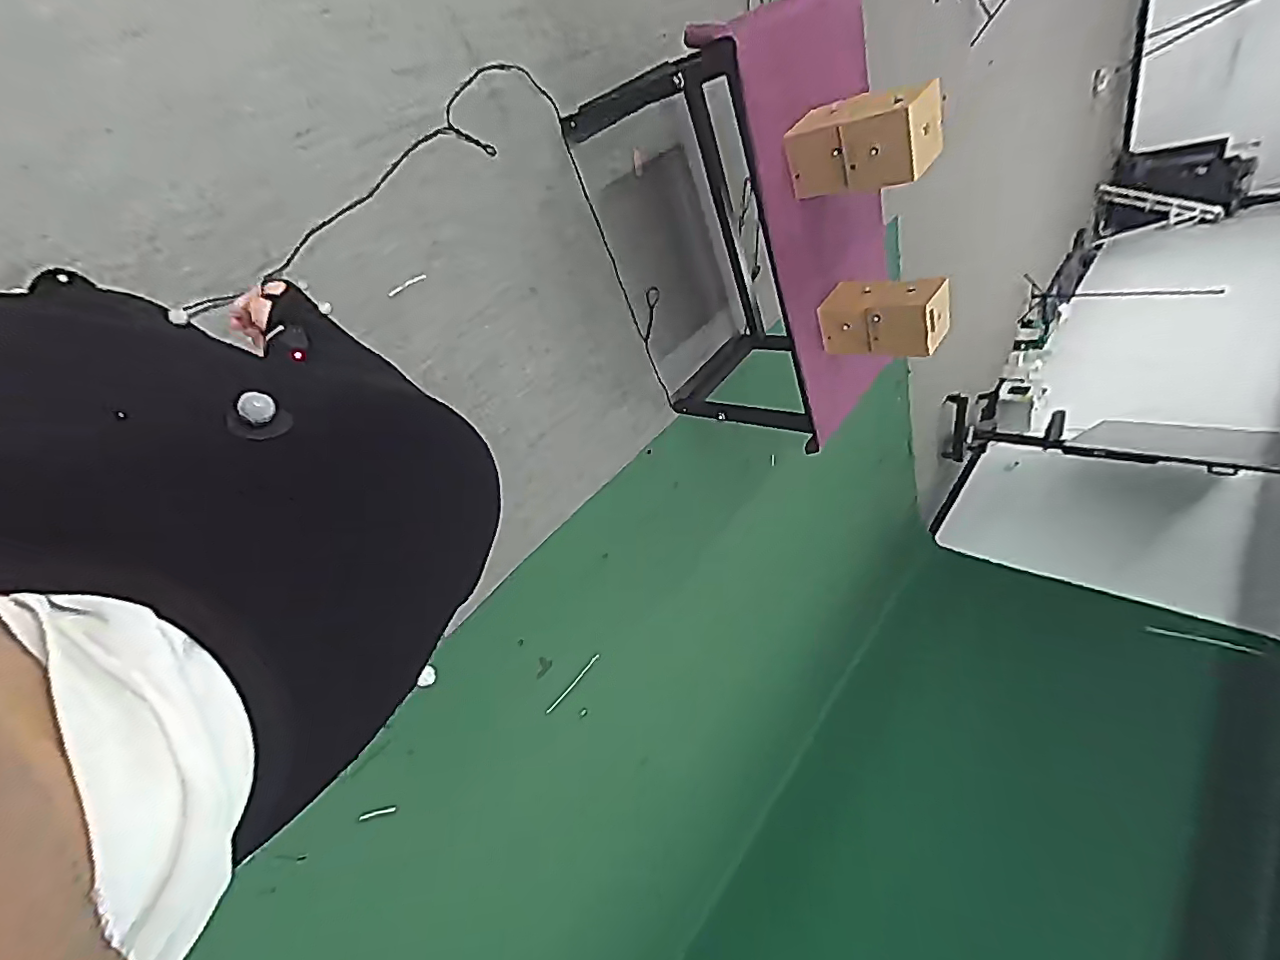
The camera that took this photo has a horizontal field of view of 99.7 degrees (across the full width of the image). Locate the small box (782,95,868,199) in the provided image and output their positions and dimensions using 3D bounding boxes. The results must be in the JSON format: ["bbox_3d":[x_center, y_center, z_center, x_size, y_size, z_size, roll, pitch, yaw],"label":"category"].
[{"bbox_3d":[0.505,-0.886,1.448,0.179,0.176,0.168,-51,131,-23],"label":"small box"}]

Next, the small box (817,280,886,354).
[{"bbox_3d":[0.682,-0.519,1.734,0.179,0.176,0.168,-49,130,-26],"label":"small box"}]

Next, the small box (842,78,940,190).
[{"bbox_3d":[0.610,-0.839,1.327,0.179,0.176,0.168,-49,132,-23],"label":"small box"}]

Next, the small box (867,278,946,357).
[{"bbox_3d":[0.792,-0.482,1.617,0.179,0.176,0.168,-46,130,-29],"label":"small box"}]
